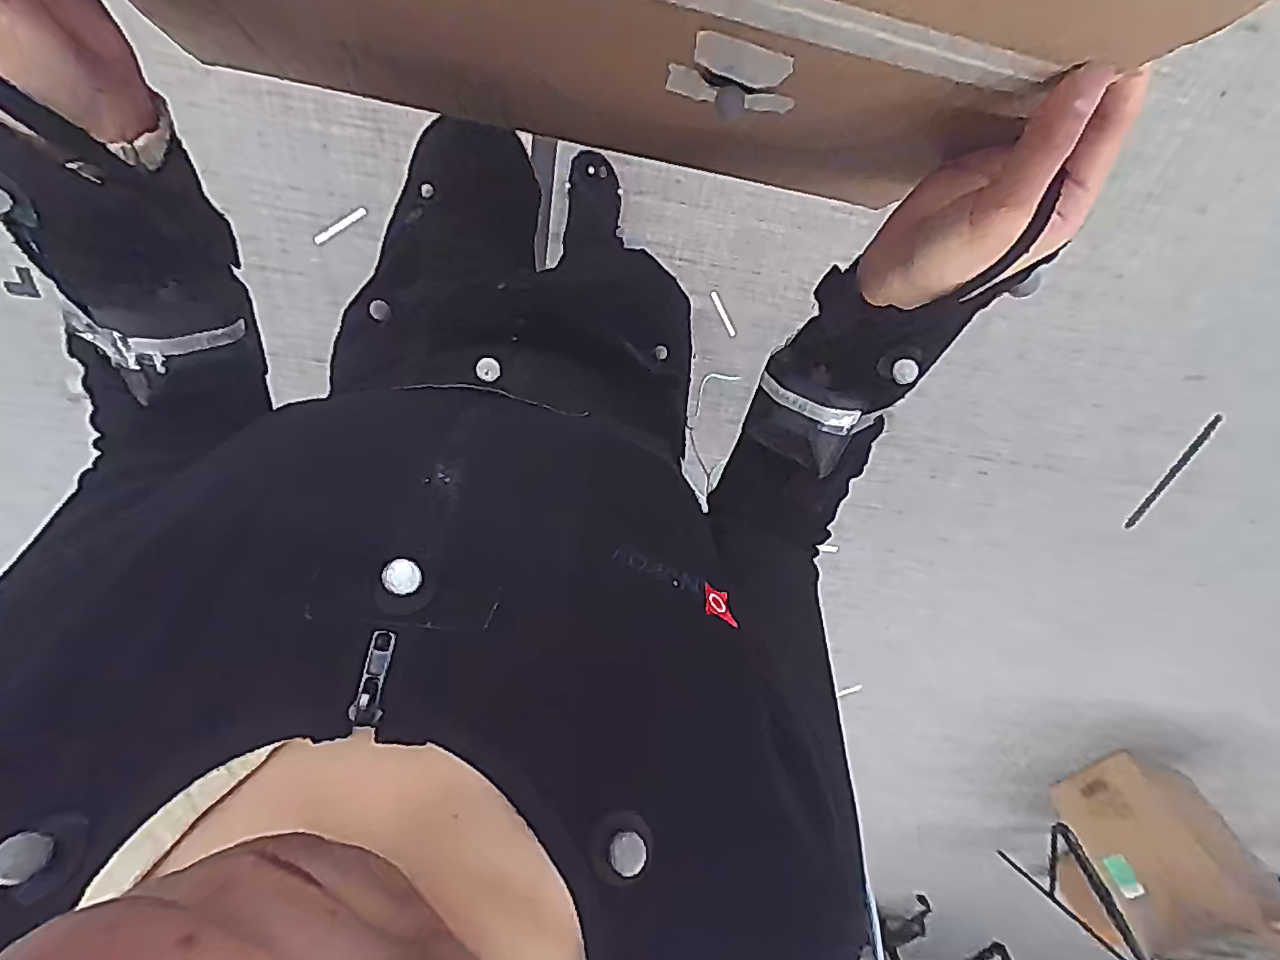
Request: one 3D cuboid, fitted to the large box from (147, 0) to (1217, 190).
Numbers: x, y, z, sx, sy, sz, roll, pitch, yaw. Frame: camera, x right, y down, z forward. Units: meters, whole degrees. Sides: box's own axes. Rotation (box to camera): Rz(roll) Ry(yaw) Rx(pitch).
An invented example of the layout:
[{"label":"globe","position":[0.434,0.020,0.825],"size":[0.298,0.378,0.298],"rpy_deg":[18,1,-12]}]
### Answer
[{"label":"large box","position":[0.000,-0.331,0.155],"size":[0.408,0.320,0.320],"rpy_deg":[6,101,-9]}]
